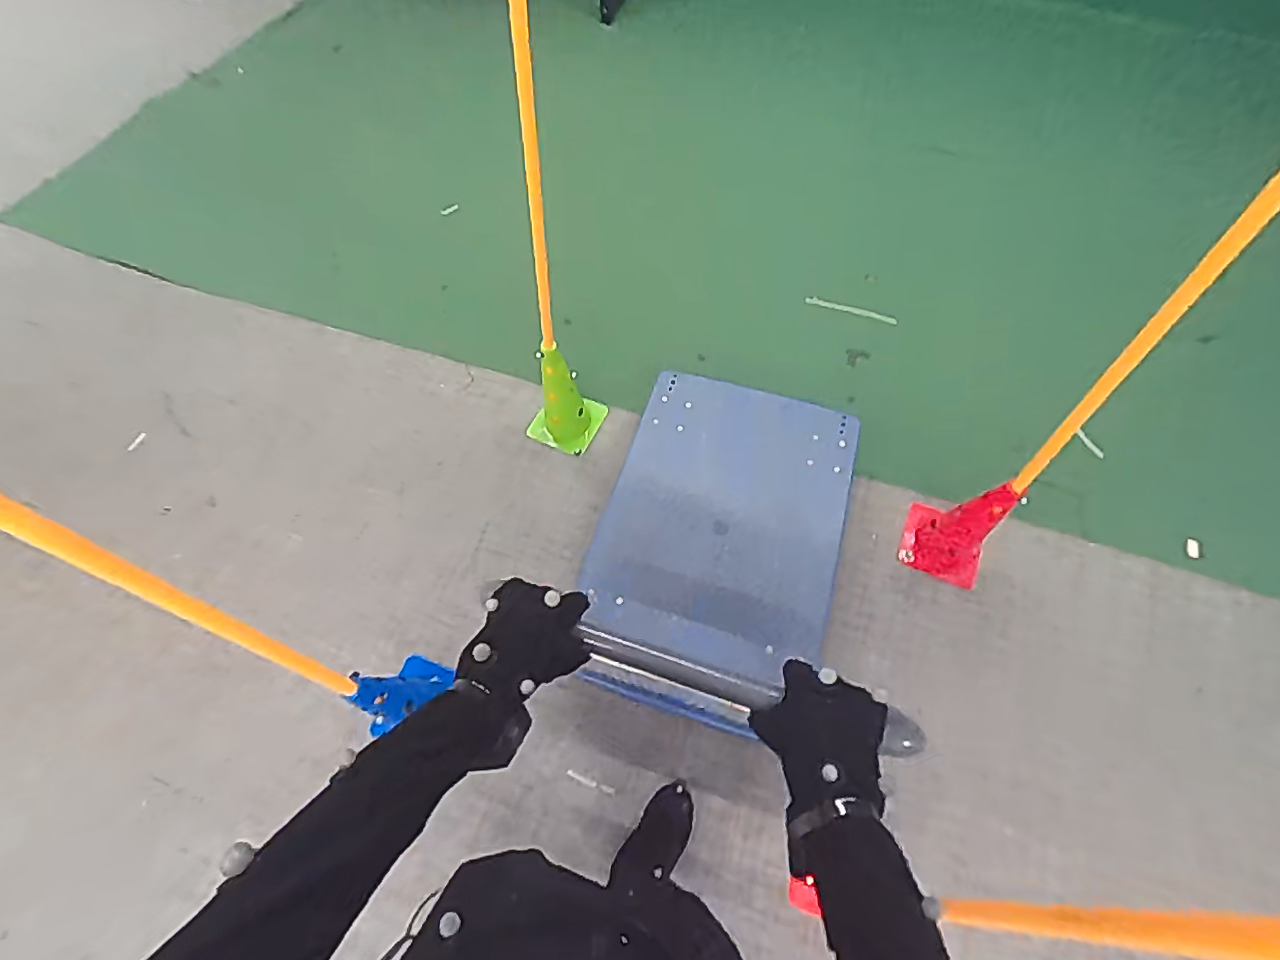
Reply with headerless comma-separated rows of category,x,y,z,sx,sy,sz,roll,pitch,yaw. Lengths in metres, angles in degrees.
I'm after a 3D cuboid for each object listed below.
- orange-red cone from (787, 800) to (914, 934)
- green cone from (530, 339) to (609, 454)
orange-red cone,0.423,0.745,1.013,0.199,0.360,0.198,17,64,12
green cone,-0.227,-0.268,1.555,0.202,0.368,0.200,21,64,13
